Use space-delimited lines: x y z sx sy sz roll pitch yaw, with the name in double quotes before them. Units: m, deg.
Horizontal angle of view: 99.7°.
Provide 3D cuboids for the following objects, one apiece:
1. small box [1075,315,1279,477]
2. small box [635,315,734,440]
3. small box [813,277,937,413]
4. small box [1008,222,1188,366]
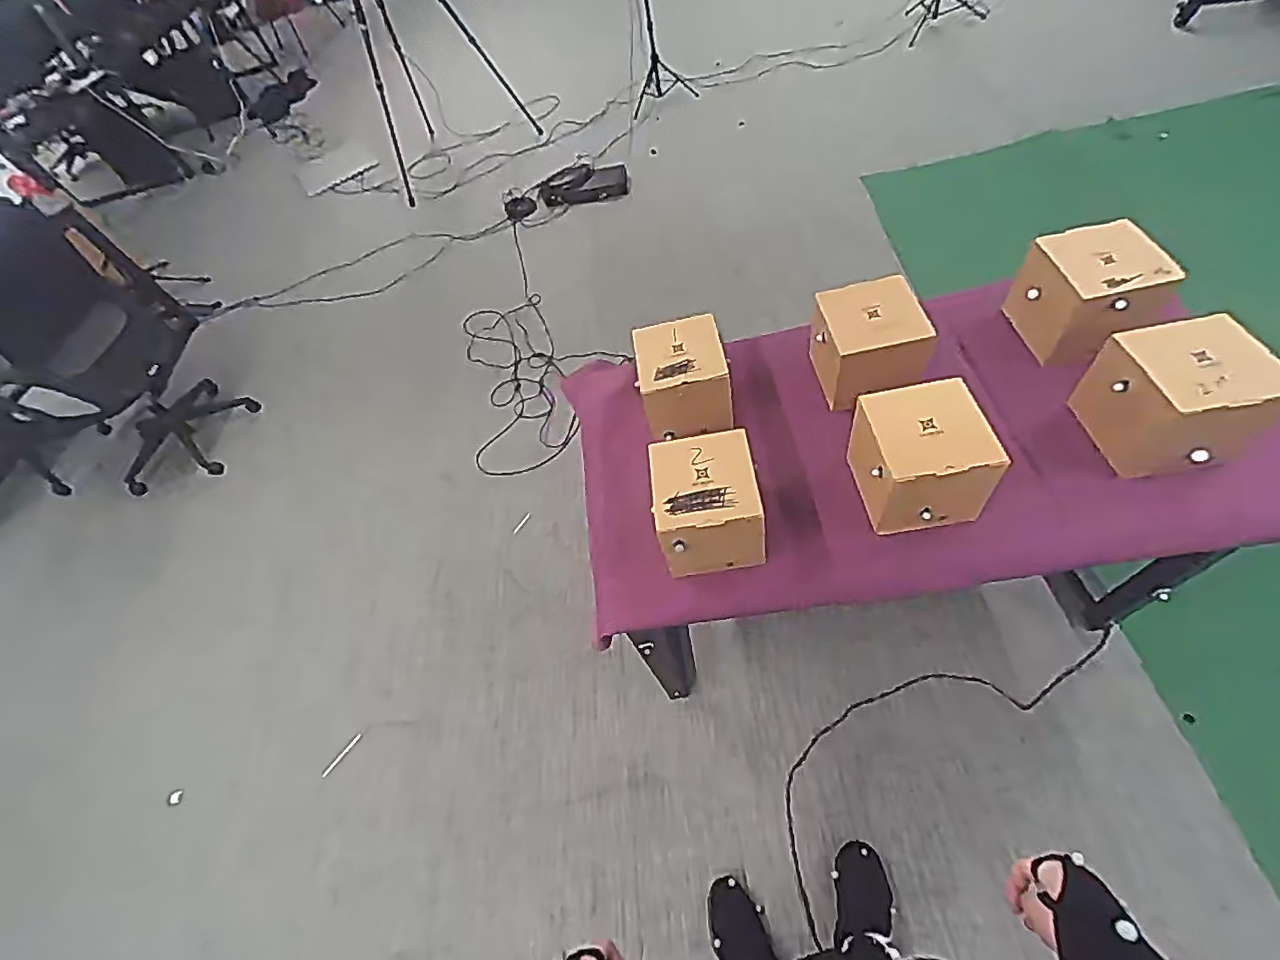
"small box" 0.851 -0.129 0.862 0.168 0.176 0.179 -10 54 8
"small box" 0.092 -0.198 1.094 0.168 0.176 0.179 -11 55 6
"small box" 0.443 -0.259 1.053 0.168 0.176 0.179 -11 56 7
"small box" 0.834 -0.344 1.012 0.168 0.176 0.179 -11 56 7
